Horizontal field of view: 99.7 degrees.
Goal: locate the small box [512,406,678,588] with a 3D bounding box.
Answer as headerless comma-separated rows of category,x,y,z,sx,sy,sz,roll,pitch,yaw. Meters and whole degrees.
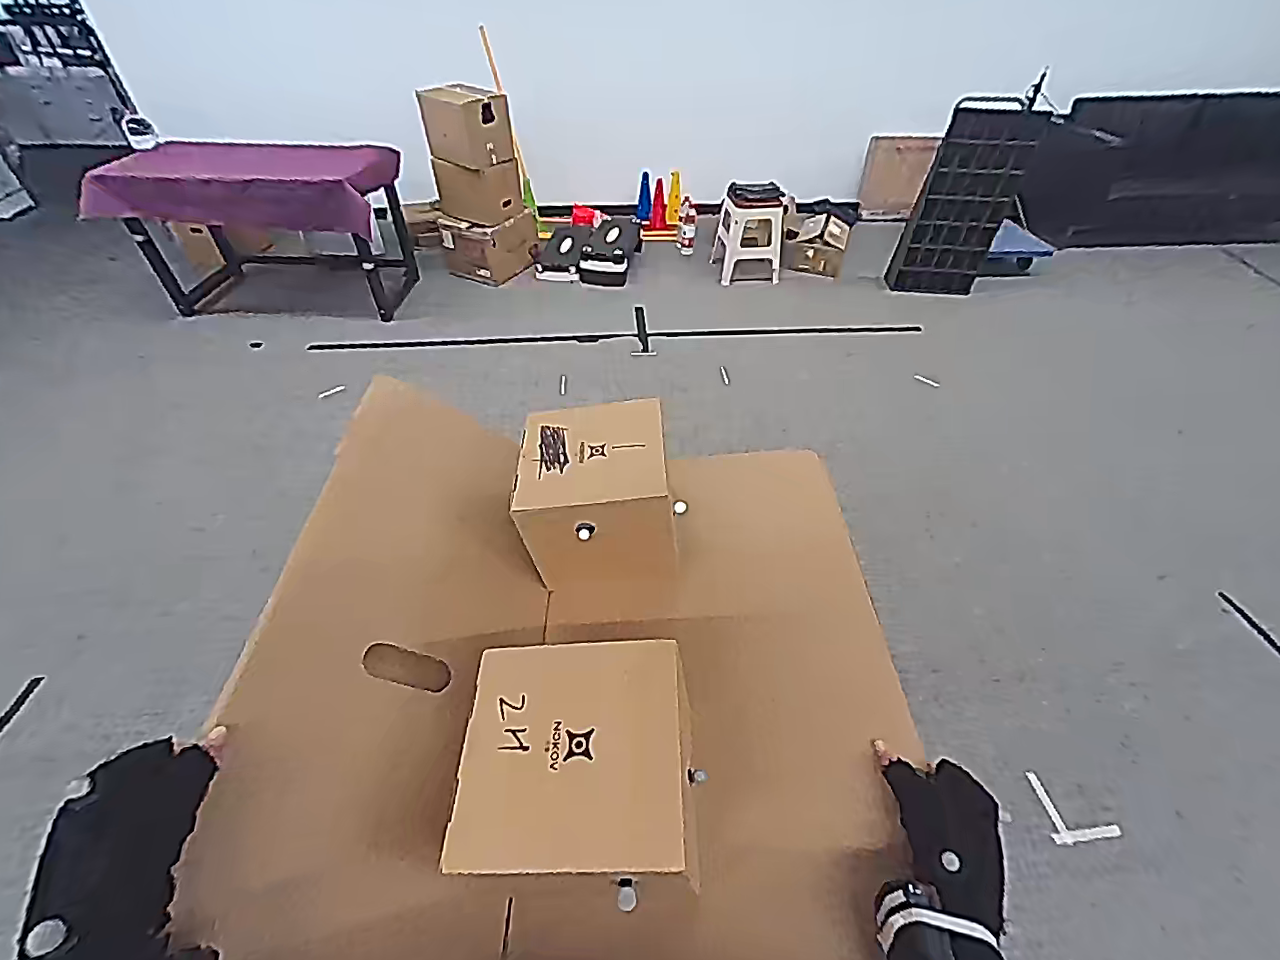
small box,-0.048,0.027,0.707,0.179,0.176,0.168,-6,48,4

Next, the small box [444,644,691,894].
small box,-0.044,0.263,0.491,0.179,0.176,0.168,-4,47,7
